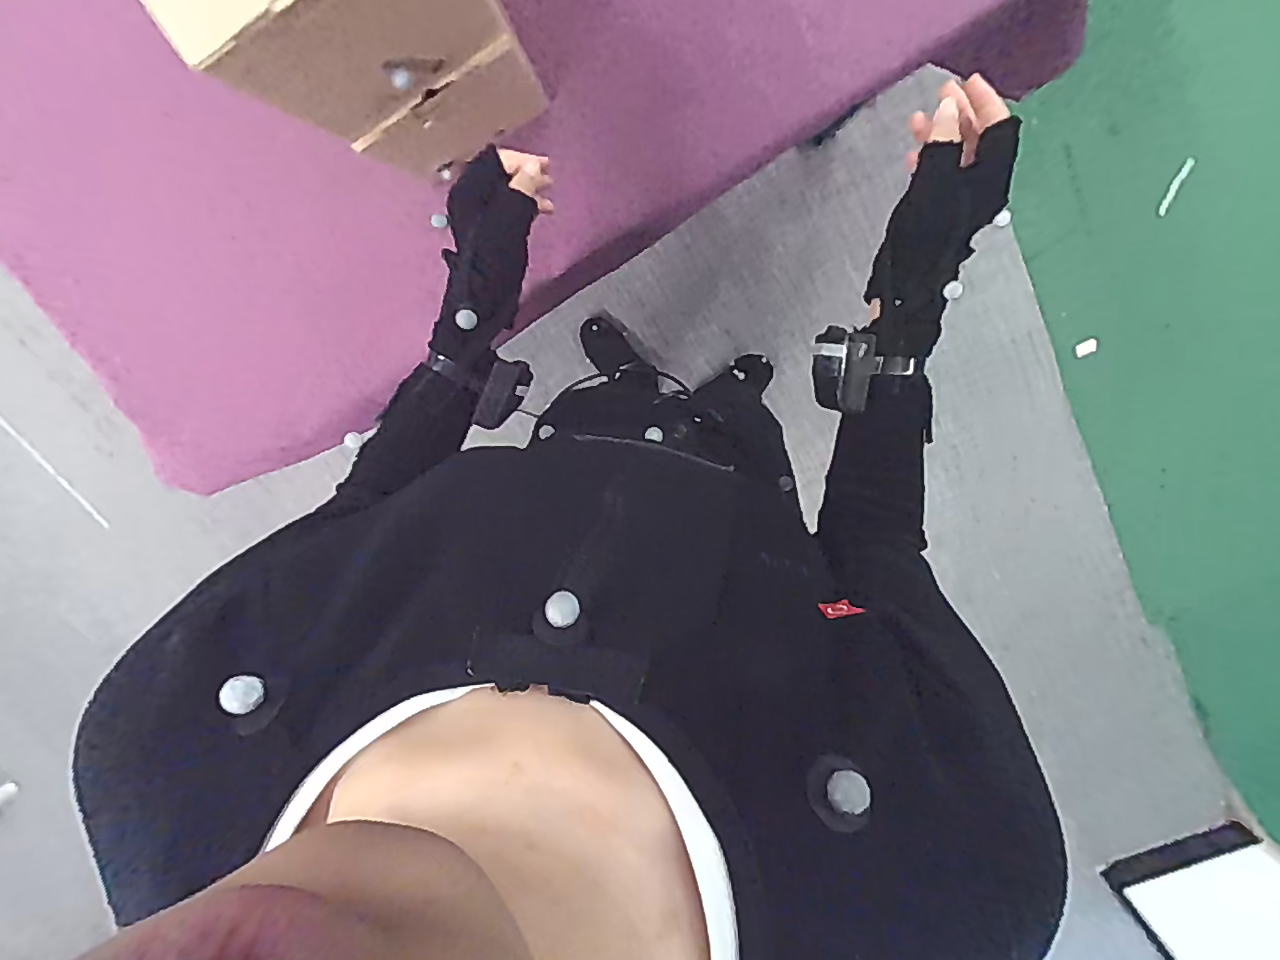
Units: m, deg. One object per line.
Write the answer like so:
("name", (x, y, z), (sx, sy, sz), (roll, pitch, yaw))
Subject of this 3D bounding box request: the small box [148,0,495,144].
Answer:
("small box", (-0.227, -0.370, 0.361), (0.168, 0.176, 0.179), (-27, 106, 10))

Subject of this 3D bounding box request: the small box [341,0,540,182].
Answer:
("small box", (-0.217, -0.415, 0.520), (0.168, 0.176, 0.179), (-27, 105, 10))
